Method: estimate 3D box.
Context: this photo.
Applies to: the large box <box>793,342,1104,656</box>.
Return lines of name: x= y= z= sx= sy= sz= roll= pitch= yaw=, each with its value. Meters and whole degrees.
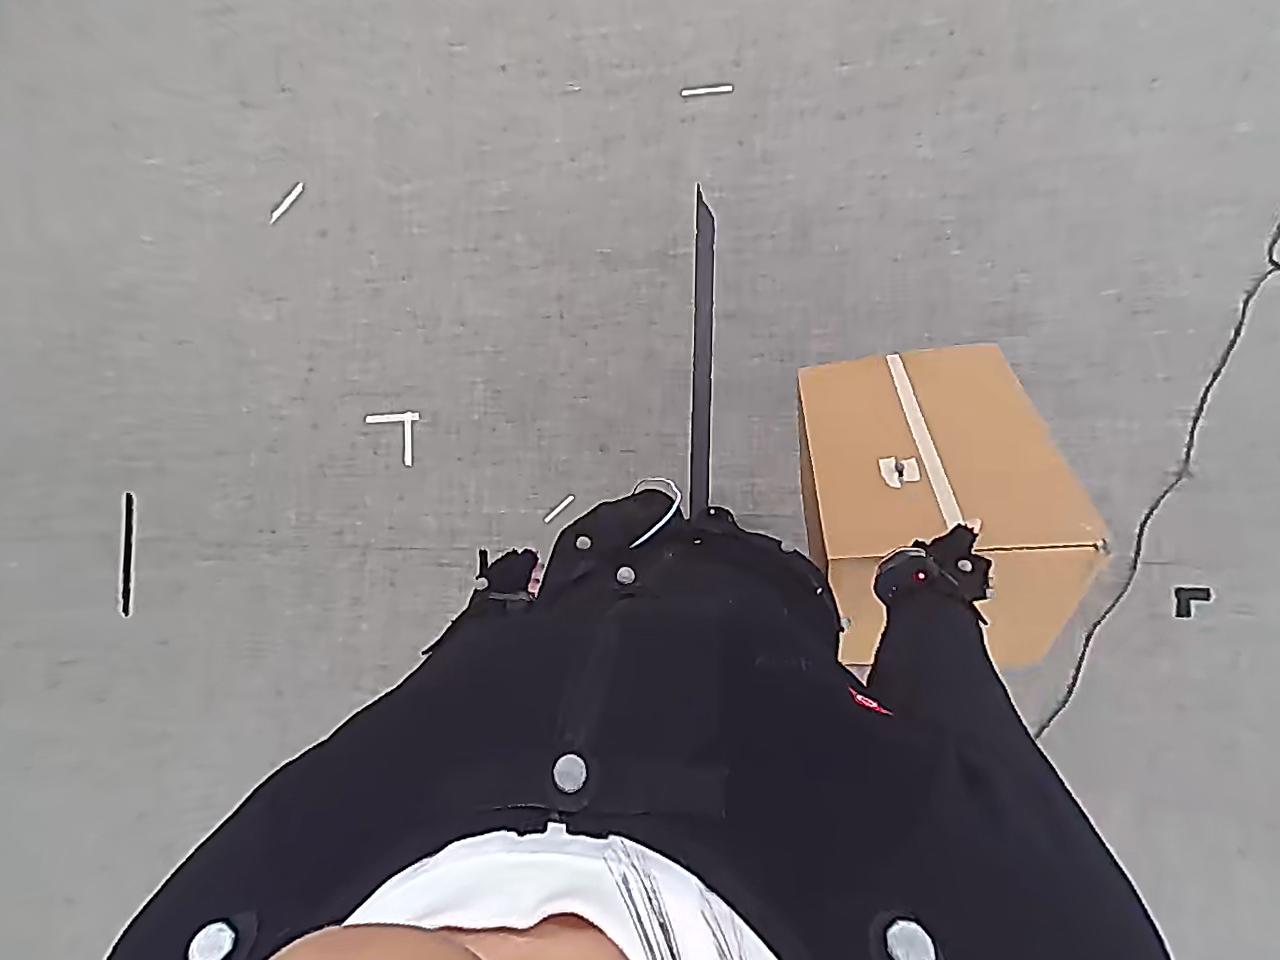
large box: x=0.435 y=0.035 z=0.886 sx=0.320 sy=0.320 sz=0.408 roll=-6 pitch=48 yaw=15
